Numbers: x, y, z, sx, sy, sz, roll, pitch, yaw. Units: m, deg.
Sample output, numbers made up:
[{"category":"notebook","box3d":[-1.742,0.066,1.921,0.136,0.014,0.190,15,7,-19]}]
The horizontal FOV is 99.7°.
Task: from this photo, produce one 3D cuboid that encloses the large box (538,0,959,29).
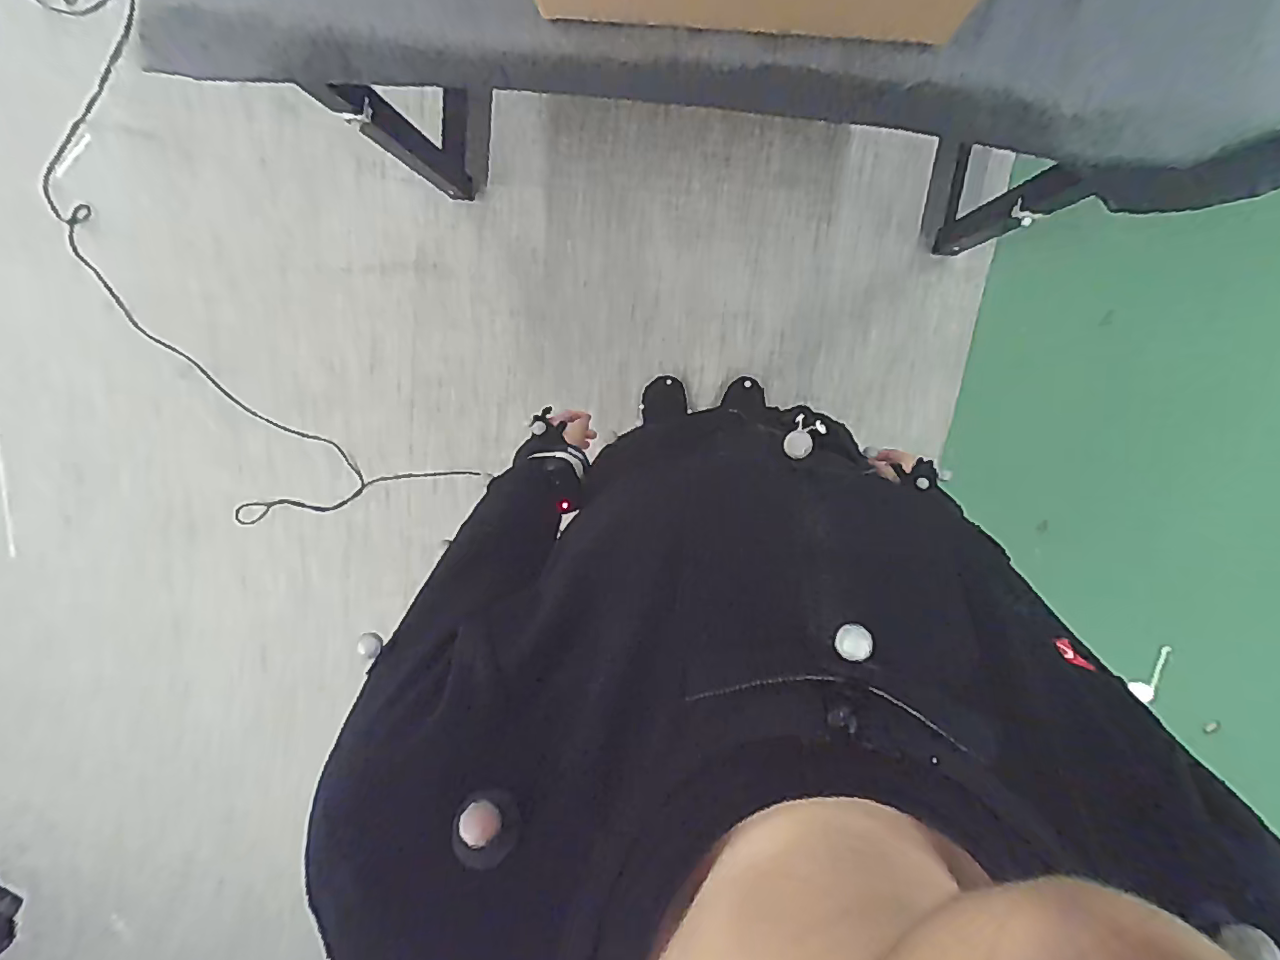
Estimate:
[{"category":"large box","box3d":[0.098,-0.577,0.366,0.408,0.320,0.320,6,101,2]}]
